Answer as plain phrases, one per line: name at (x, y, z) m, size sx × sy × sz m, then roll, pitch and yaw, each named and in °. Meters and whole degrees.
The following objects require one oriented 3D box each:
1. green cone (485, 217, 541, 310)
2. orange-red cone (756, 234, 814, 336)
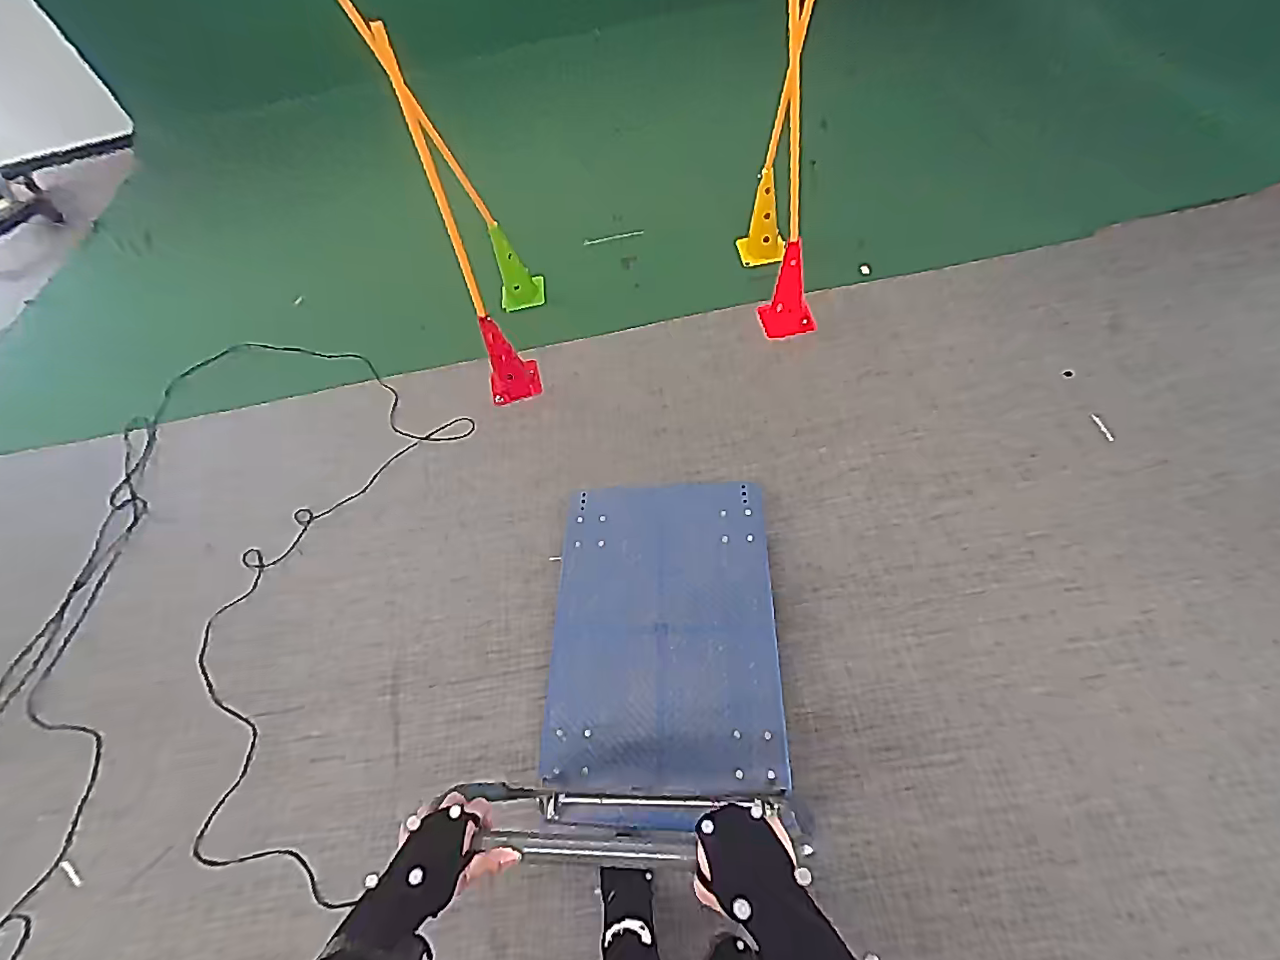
green cone at (-0.575, -0.951, 2.329) m, size 0.200 × 0.368 × 0.202 m, roll -11°, pitch 56°, yaw 4°
orange-red cone at (0.552, -0.743, 2.009) m, size 0.198 × 0.360 × 0.199 m, roll -10°, pitch 55°, yaw 2°
